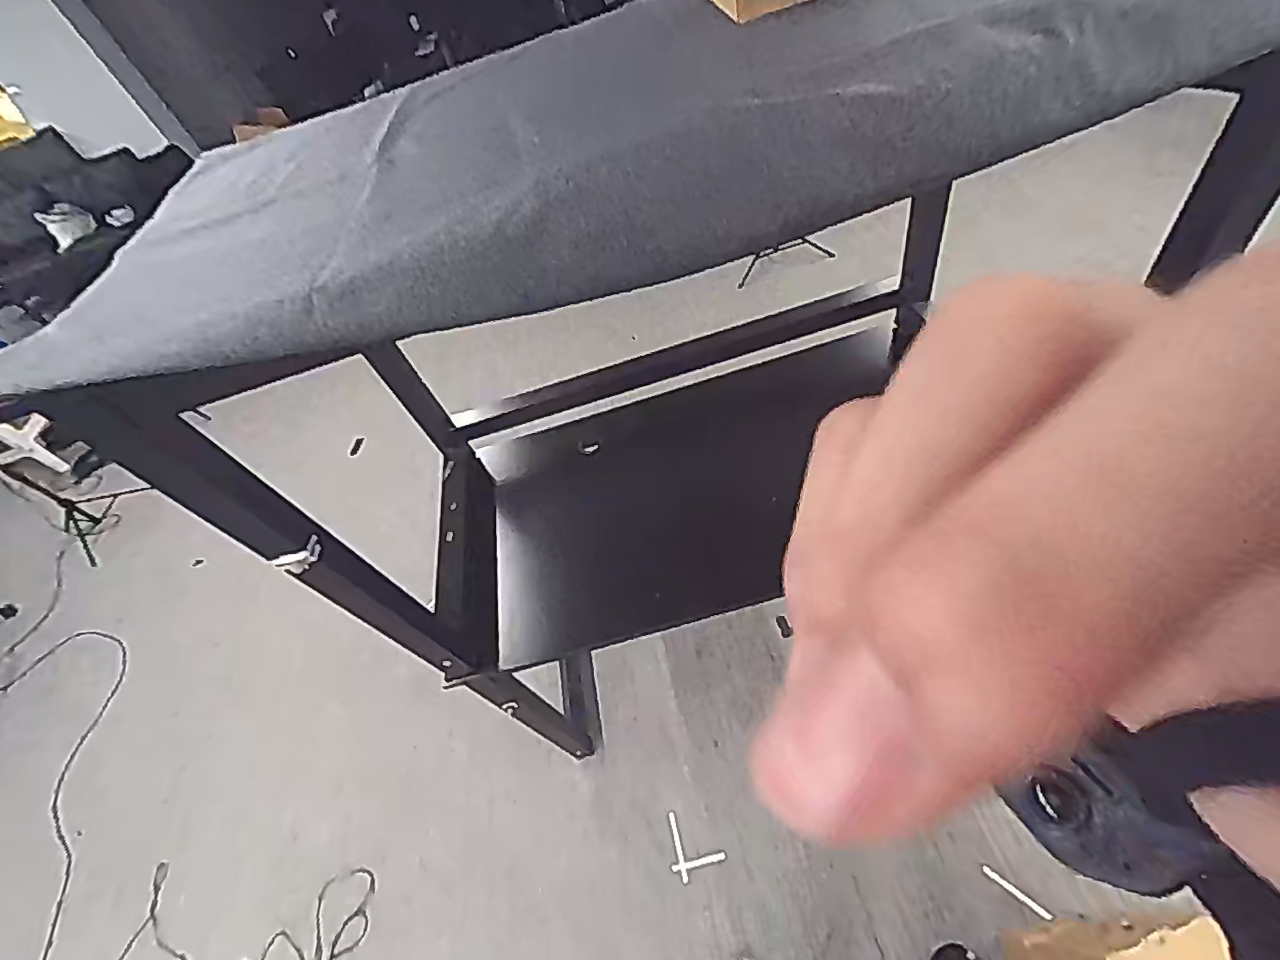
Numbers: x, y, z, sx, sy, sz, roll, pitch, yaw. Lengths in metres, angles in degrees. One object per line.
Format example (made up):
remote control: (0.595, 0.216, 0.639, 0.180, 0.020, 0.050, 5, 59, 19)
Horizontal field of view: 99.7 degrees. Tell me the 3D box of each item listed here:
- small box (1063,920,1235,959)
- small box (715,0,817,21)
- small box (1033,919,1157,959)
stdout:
small box: (0.767, 0.762, 0.771, 0.168, 0.176, 0.179, -22, 50, 0)
small box: (0.163, -0.639, 0.590, 0.168, 0.176, 0.179, -14, 49, 6)
small box: (0.808, 0.856, 0.897, 0.179, 0.176, 0.168, -21, 50, 1)
